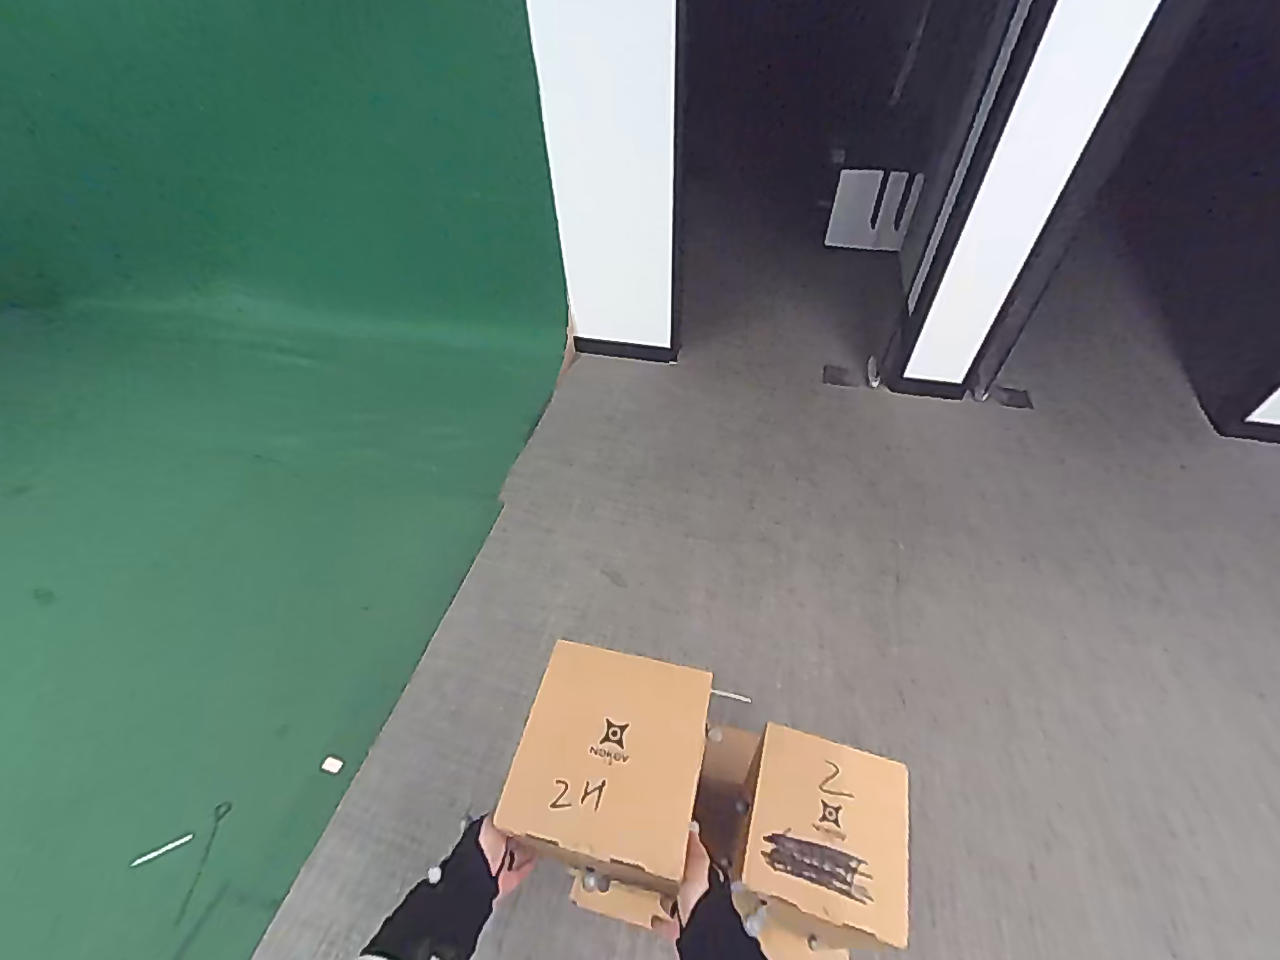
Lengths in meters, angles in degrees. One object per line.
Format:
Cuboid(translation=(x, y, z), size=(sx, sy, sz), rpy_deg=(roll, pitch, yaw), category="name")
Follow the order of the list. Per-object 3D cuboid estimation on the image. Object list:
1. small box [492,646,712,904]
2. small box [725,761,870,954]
Cuboid(translation=(-0.026, 0.301, 0.553), size=(0.168, 0.176, 0.179), rpy_deg=(9, 50, 11), category="small box")
Cuboid(translation=(0.220, 0.541, 0.776), size=(0.168, 0.176, 0.179), rpy_deg=(12, 49, 14), category="small box")
